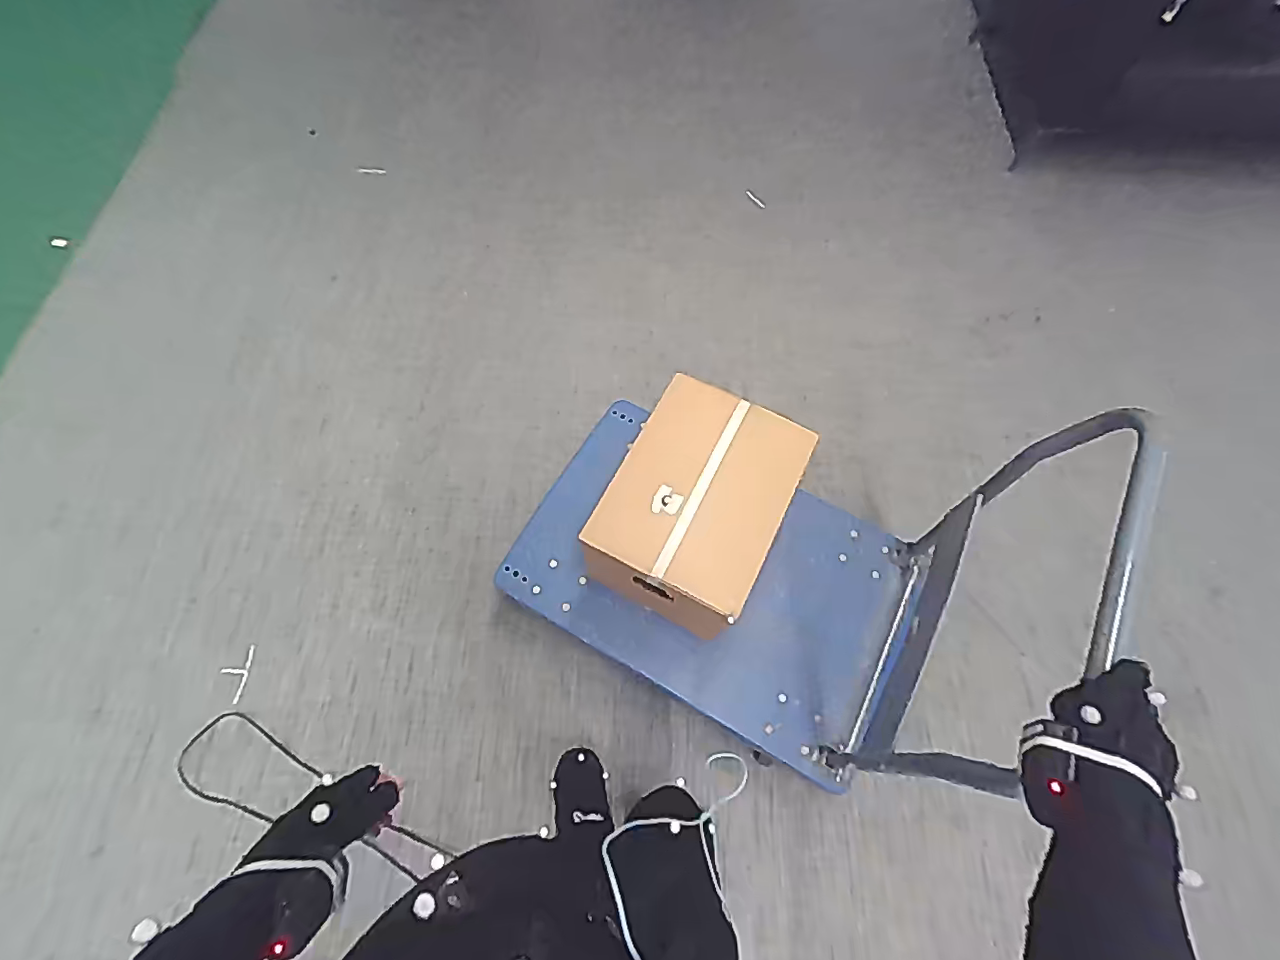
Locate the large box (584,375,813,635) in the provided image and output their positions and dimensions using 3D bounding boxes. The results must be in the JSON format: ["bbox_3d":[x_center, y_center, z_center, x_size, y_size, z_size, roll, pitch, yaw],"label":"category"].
[{"bbox_3d":[0.118,0.064,1.148,0.320,0.320,0.408,25,70,11],"label":"large box"}]
